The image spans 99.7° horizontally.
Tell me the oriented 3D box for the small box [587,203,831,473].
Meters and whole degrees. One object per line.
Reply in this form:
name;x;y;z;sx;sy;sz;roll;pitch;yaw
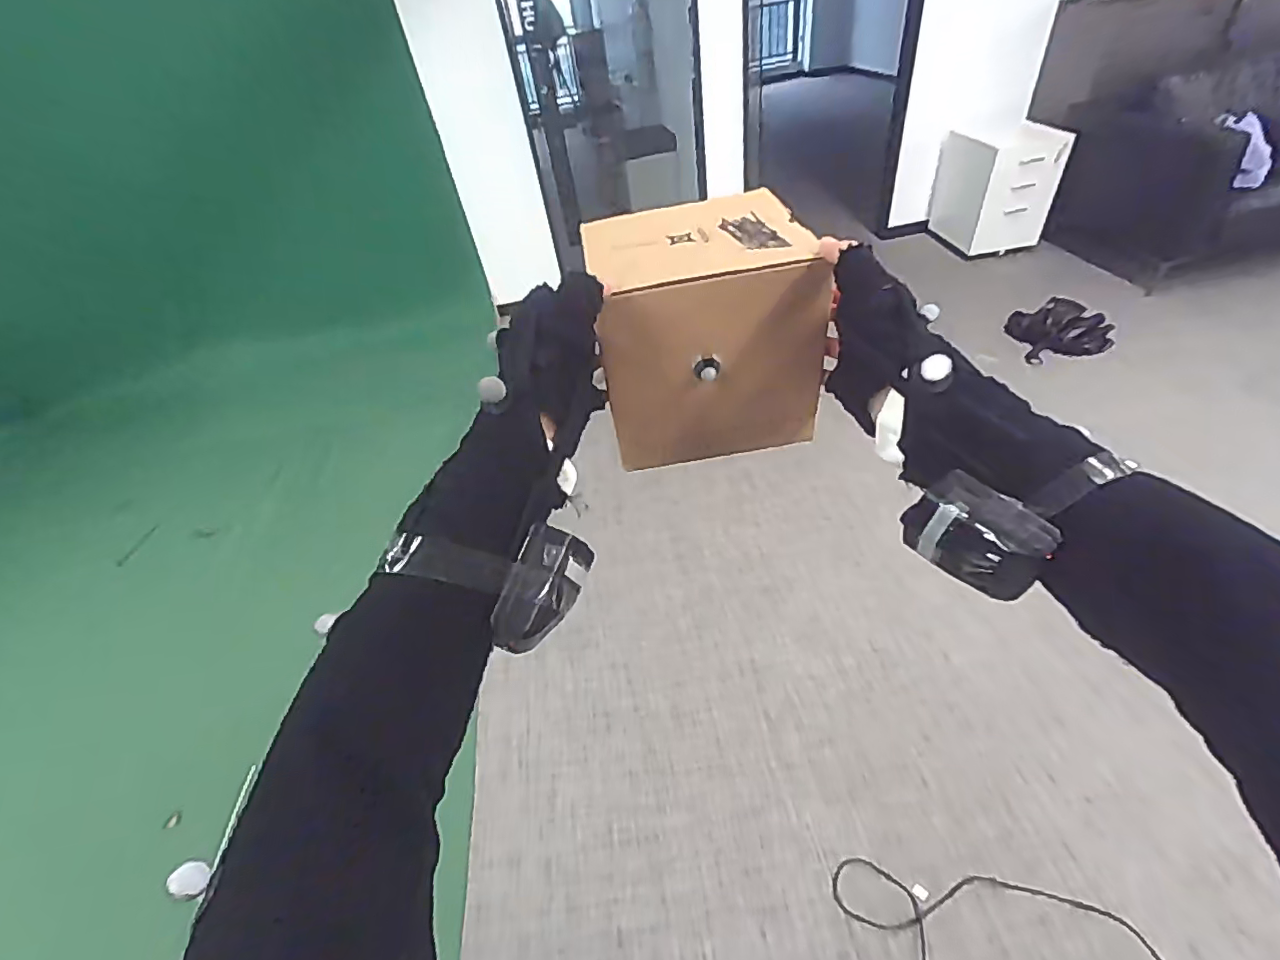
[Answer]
small box;0.054;-0.129;0.498;0.179;0.176;0.168;-11;41;1
